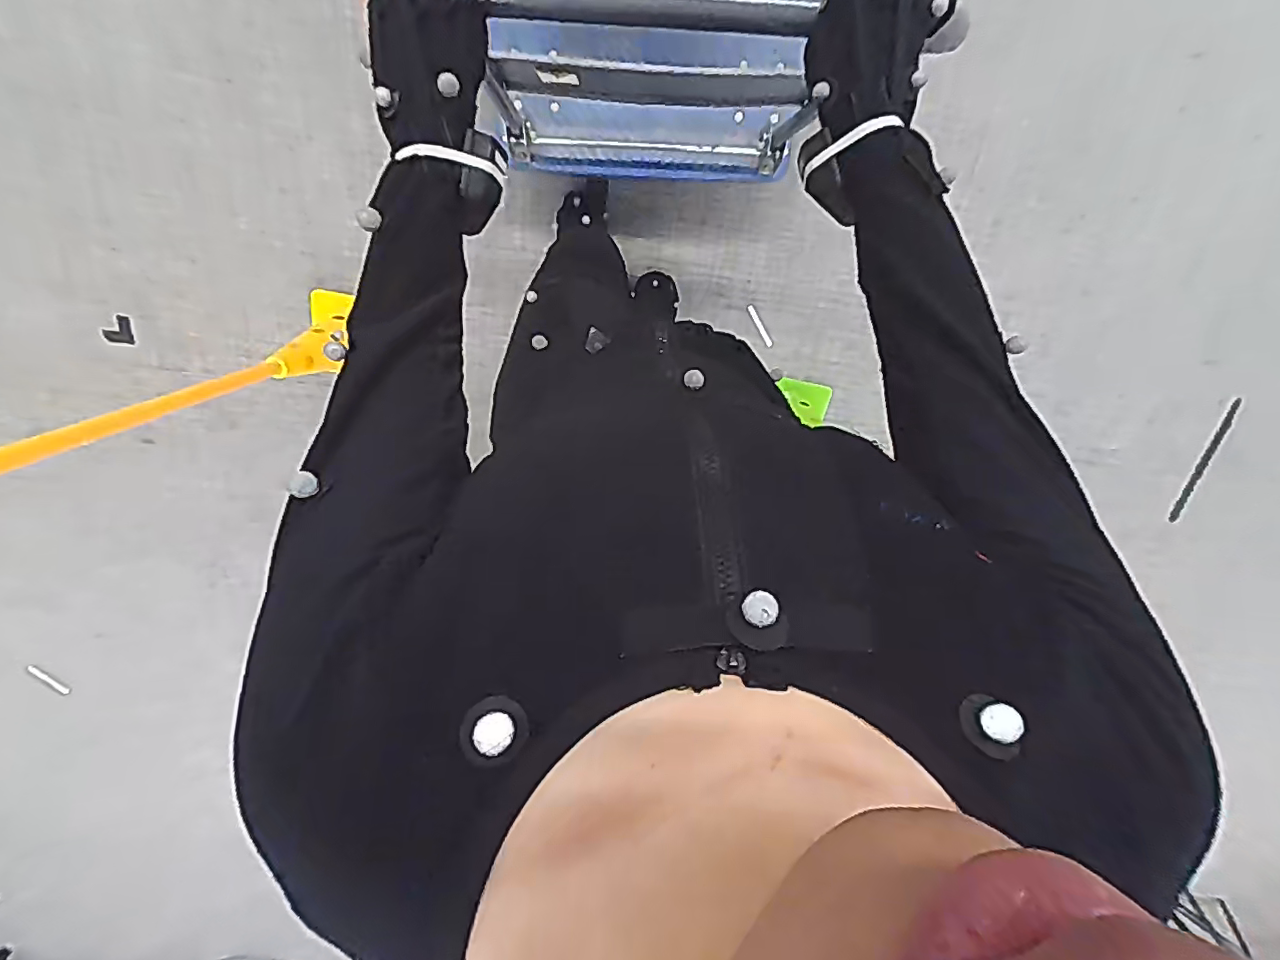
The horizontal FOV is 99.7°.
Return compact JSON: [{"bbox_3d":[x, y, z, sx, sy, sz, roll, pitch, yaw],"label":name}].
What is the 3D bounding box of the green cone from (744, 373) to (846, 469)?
[{"bbox_3d":[0.408,-0.112,1.322,0.202,0.368,0.200,9,113,-8],"label":"green cone"}]
